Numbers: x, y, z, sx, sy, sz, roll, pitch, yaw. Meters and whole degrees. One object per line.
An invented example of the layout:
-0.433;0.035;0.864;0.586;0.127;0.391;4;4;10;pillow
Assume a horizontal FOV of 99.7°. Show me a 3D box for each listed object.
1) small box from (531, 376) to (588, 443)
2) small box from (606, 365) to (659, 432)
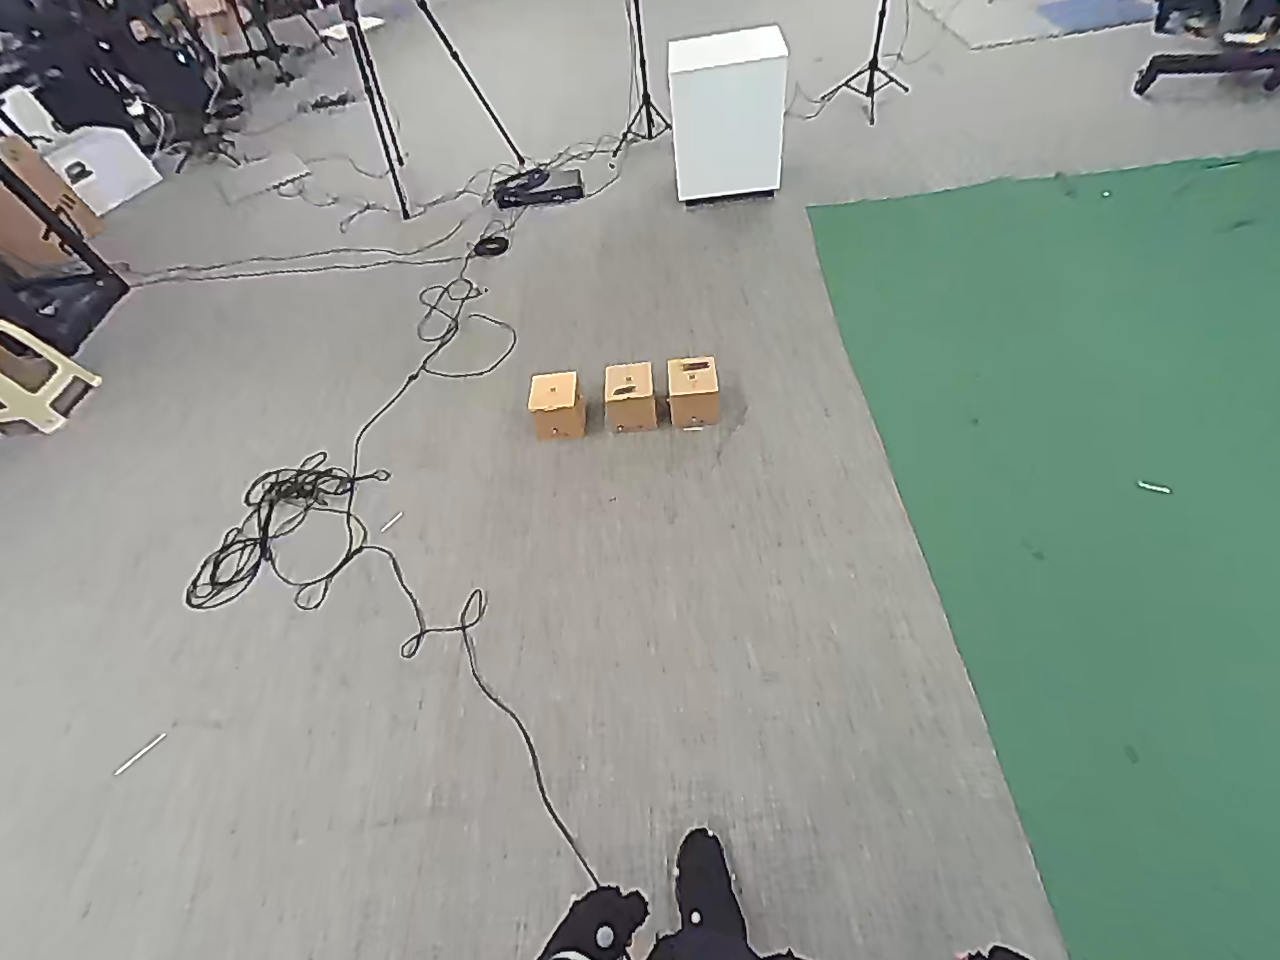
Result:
-0.288;-0.257;1.980;0.168;0.176;0.179;-5;53;6;small box
-0.025;-0.286;1.953;0.168;0.176;0.179;-6;52;6;small box
